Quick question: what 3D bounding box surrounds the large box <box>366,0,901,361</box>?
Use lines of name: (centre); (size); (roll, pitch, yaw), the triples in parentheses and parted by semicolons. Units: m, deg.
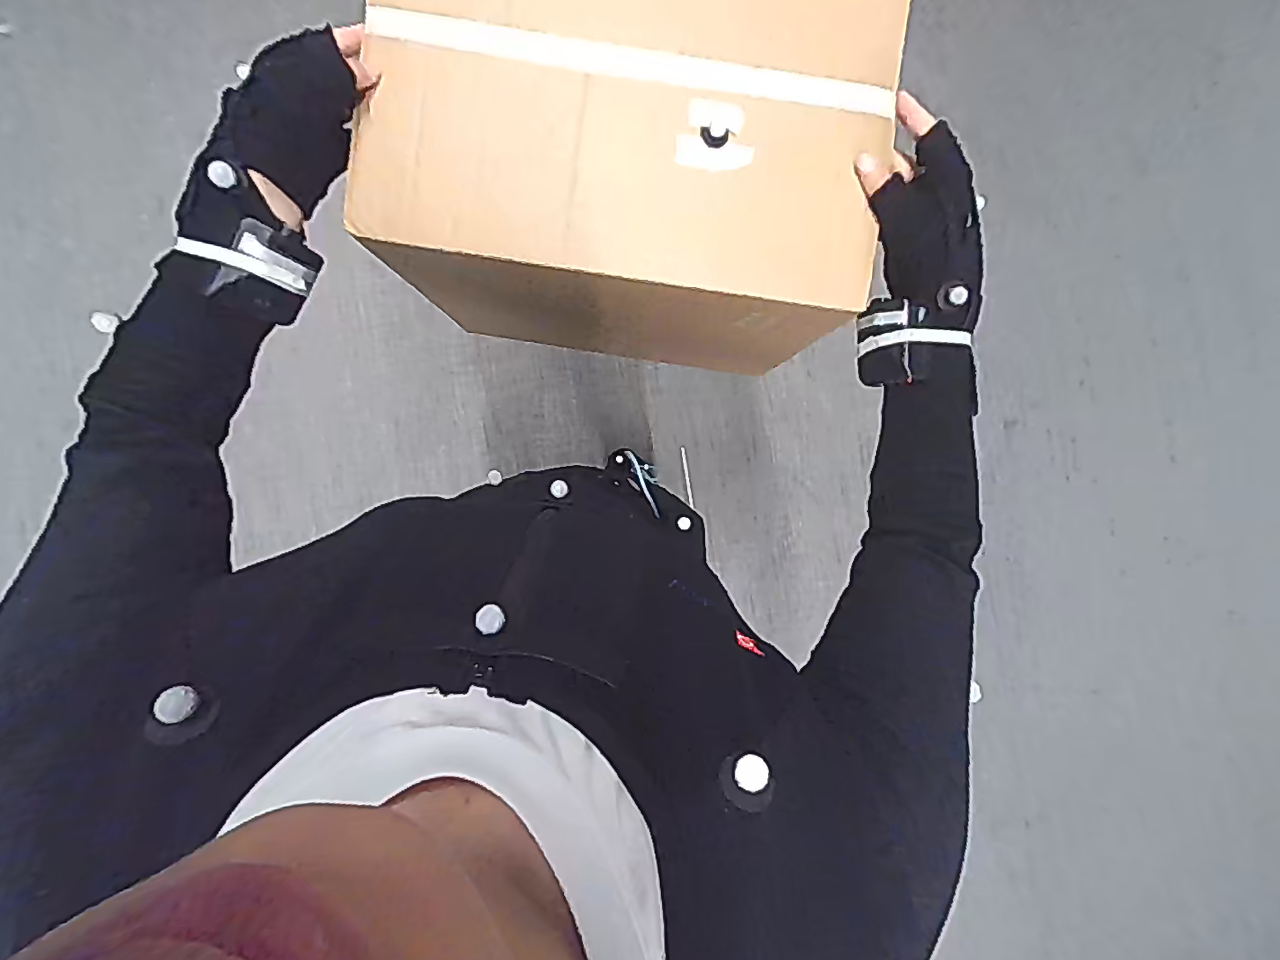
large box: (-0.007, -0.327, 0.570); (0.408, 0.320, 0.320); (7, 92, -2)
